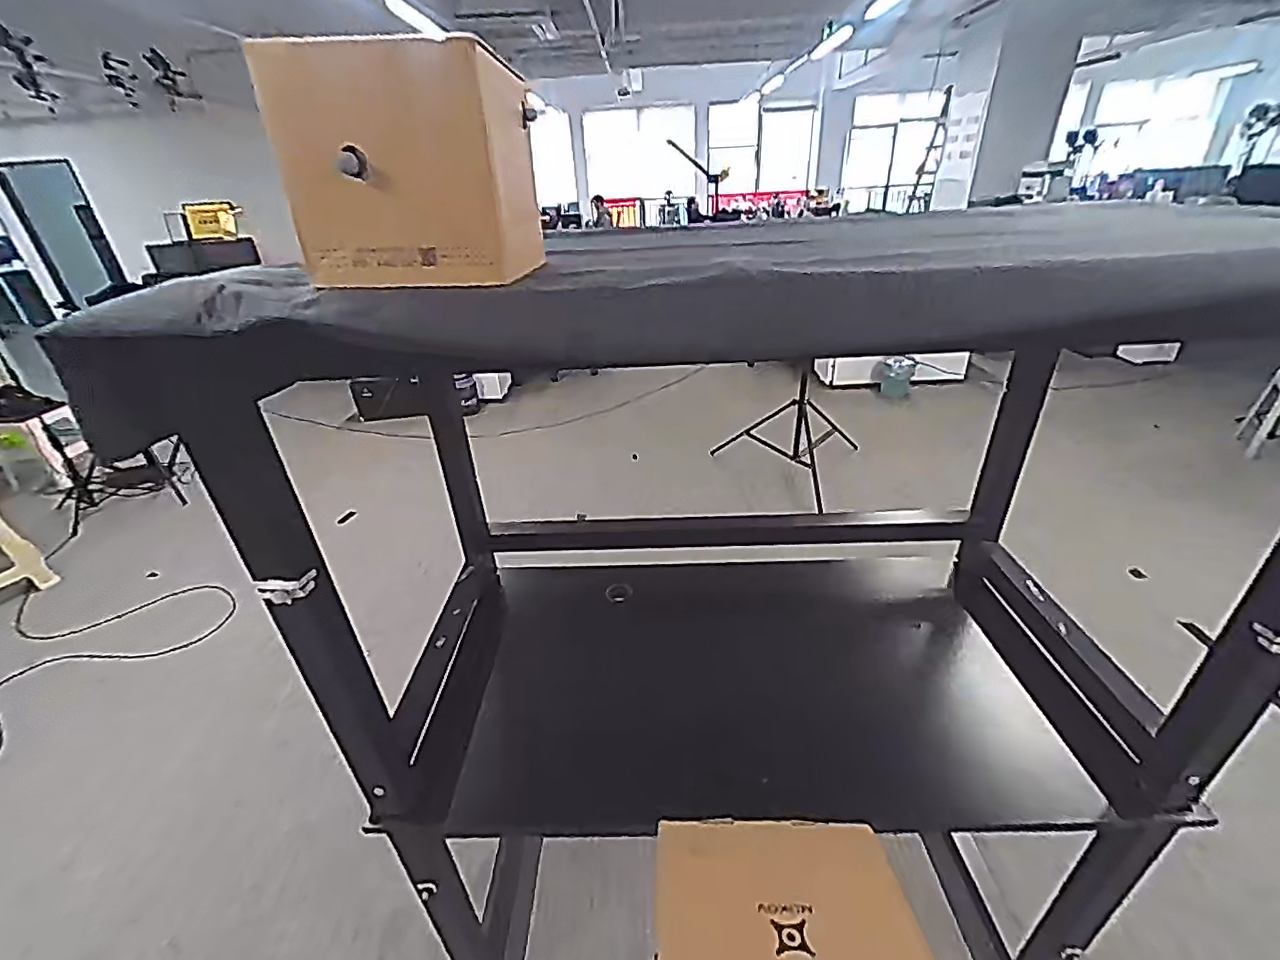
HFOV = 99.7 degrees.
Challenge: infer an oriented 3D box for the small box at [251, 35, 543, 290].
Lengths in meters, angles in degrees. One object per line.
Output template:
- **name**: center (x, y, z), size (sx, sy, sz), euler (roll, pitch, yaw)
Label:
- **small box**: center (-0.187, -0.267, 0.485), size (0.168, 0.176, 0.179), euler (0, 27, 2)

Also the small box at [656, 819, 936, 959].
- **small box**: center (0.092, 0.359, 0.346), size (0.168, 0.176, 0.179), euler (-1, 10, 1)
